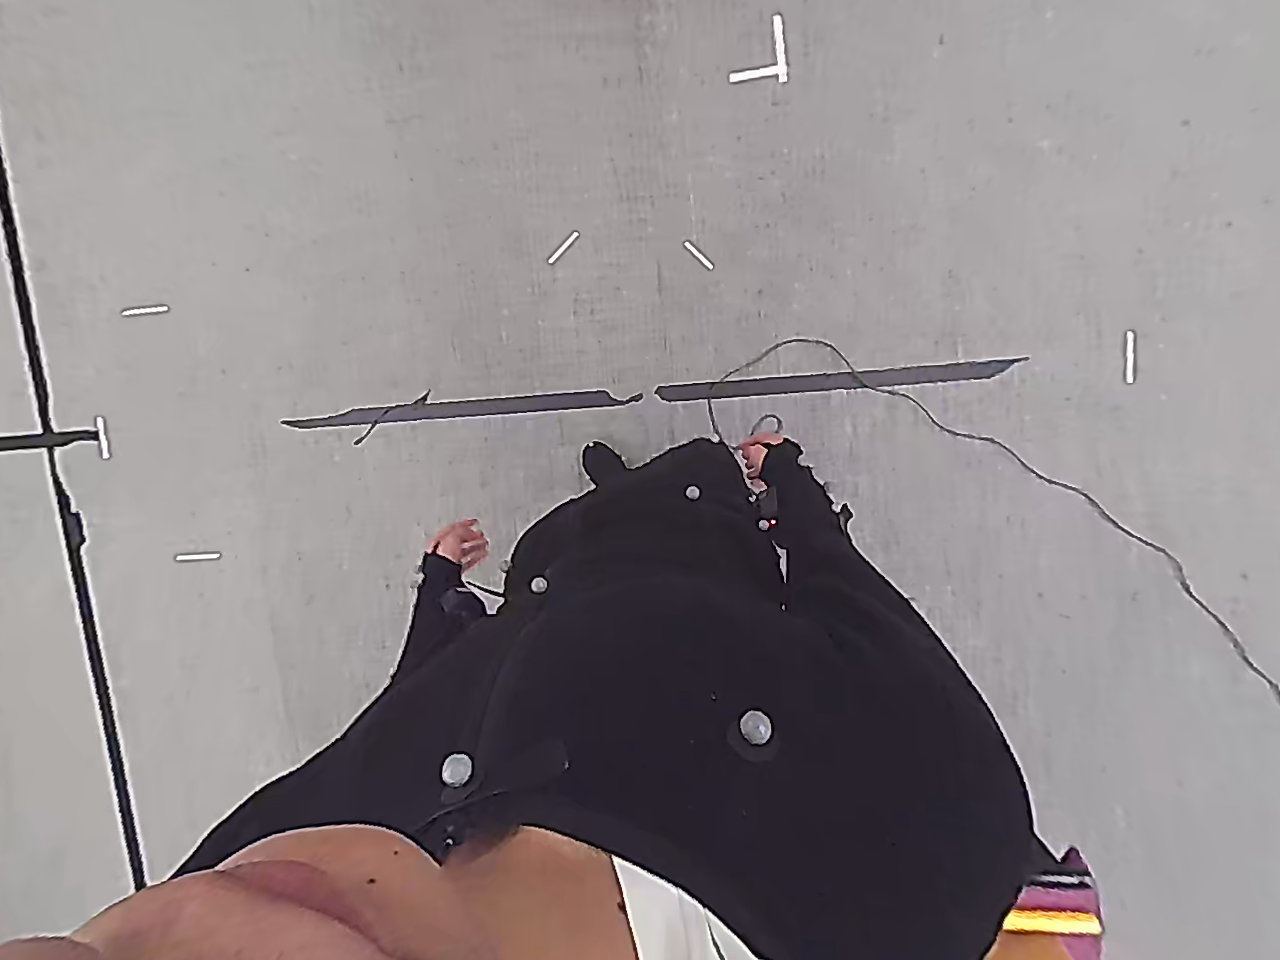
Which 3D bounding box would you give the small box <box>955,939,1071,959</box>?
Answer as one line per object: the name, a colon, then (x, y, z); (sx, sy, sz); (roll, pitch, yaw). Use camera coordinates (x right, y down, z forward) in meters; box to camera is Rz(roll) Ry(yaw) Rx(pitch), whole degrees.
small box: (0.607, 0.855, 0.832); (0.179, 0.176, 0.168); (-6, 95, 7)
